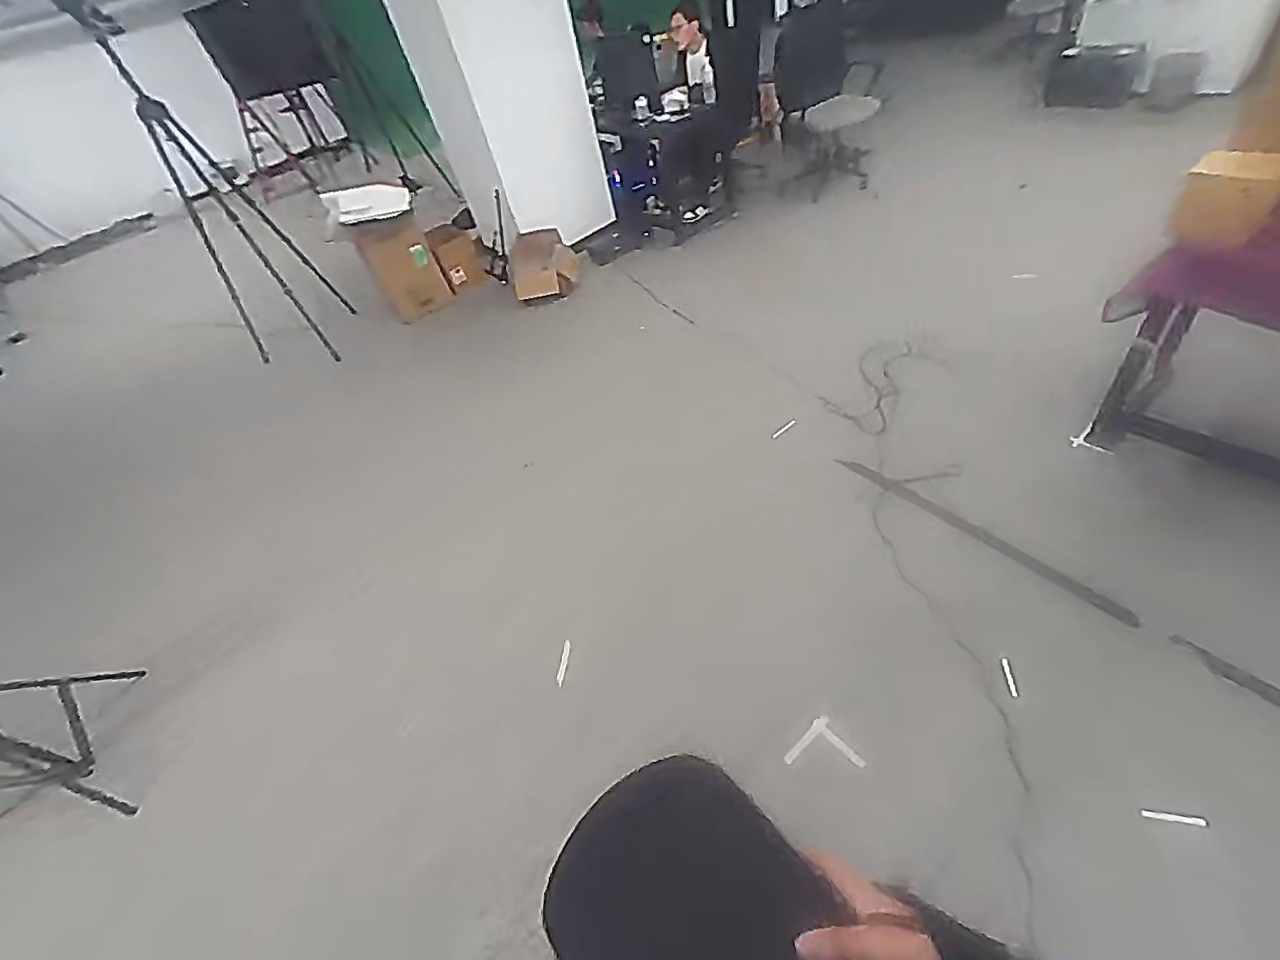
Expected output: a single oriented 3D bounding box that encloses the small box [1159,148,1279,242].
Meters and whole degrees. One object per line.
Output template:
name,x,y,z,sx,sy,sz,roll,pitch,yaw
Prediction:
small box,1.538,-0.751,1.427,0.168,0.176,0.179,-36,48,-19
